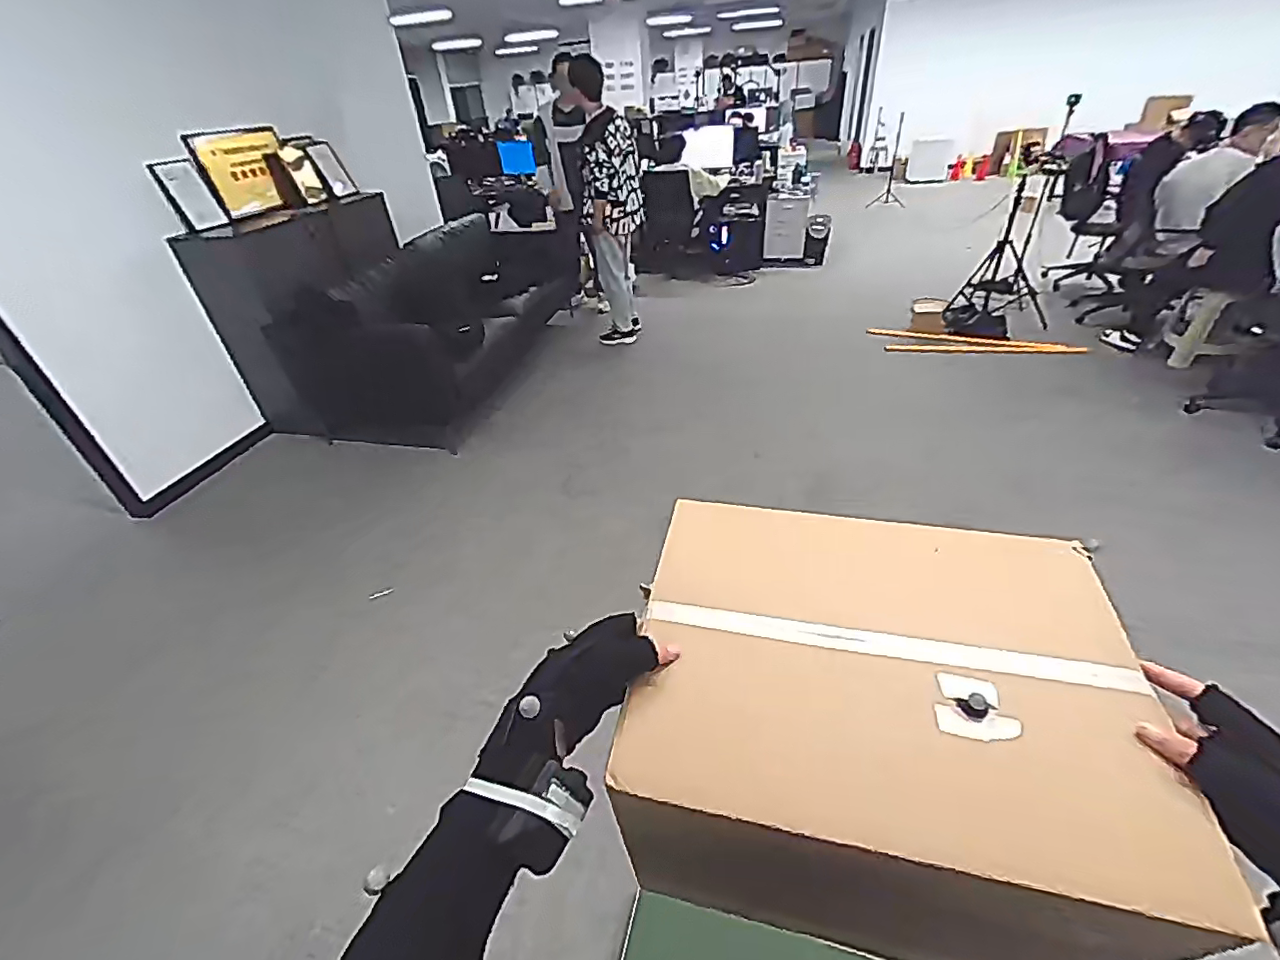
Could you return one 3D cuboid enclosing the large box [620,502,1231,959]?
[{"bbox_3d":[0.215,0.253,0.578,0.408,0.320,0.320,6,43,12],"label":"large box"}]
